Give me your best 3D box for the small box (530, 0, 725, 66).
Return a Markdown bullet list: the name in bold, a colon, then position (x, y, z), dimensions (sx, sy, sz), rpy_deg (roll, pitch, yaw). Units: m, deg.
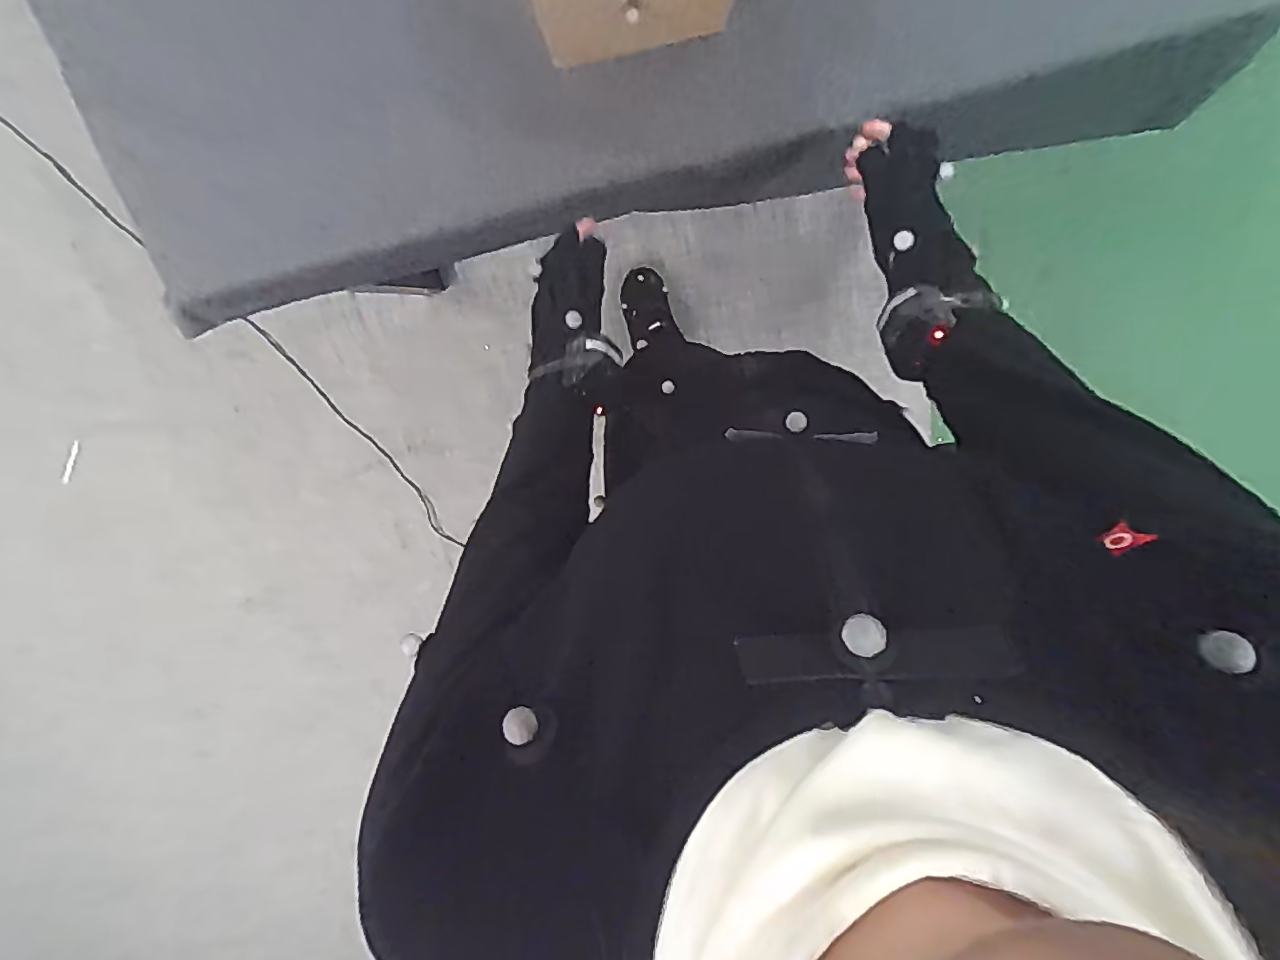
- **small box**: position (-0.016, -0.483, 0.444), dimensions (0.179, 0.176, 0.168), rpy_deg (-10, 107, 4)
